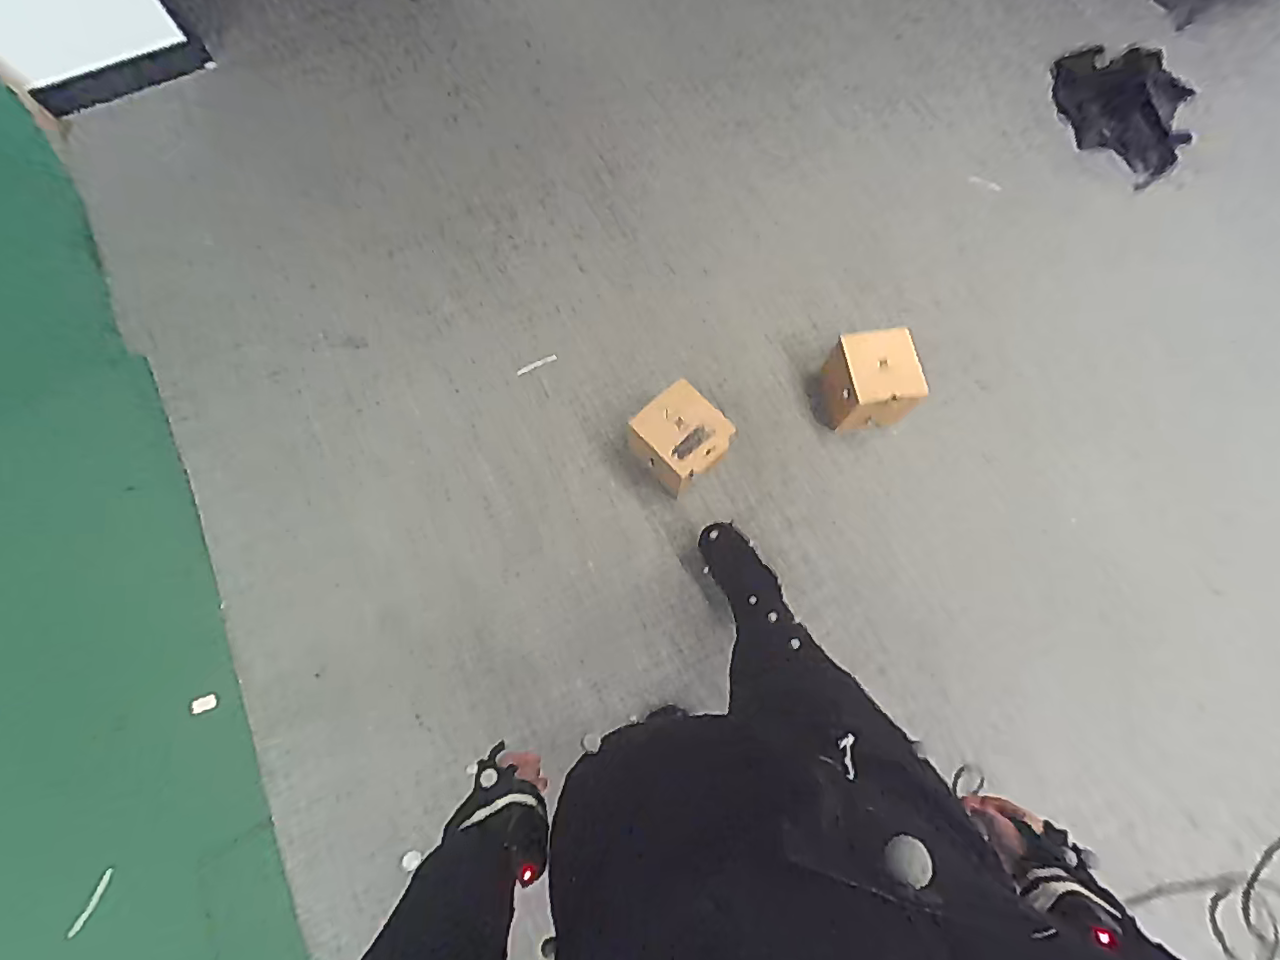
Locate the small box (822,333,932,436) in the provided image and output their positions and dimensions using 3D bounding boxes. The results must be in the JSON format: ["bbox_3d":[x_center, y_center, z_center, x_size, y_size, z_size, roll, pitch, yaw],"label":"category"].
[{"bbox_3d":[0.554,-0.224,1.294,0.168,0.176,0.179,-7,72,-3],"label":"small box"}]
